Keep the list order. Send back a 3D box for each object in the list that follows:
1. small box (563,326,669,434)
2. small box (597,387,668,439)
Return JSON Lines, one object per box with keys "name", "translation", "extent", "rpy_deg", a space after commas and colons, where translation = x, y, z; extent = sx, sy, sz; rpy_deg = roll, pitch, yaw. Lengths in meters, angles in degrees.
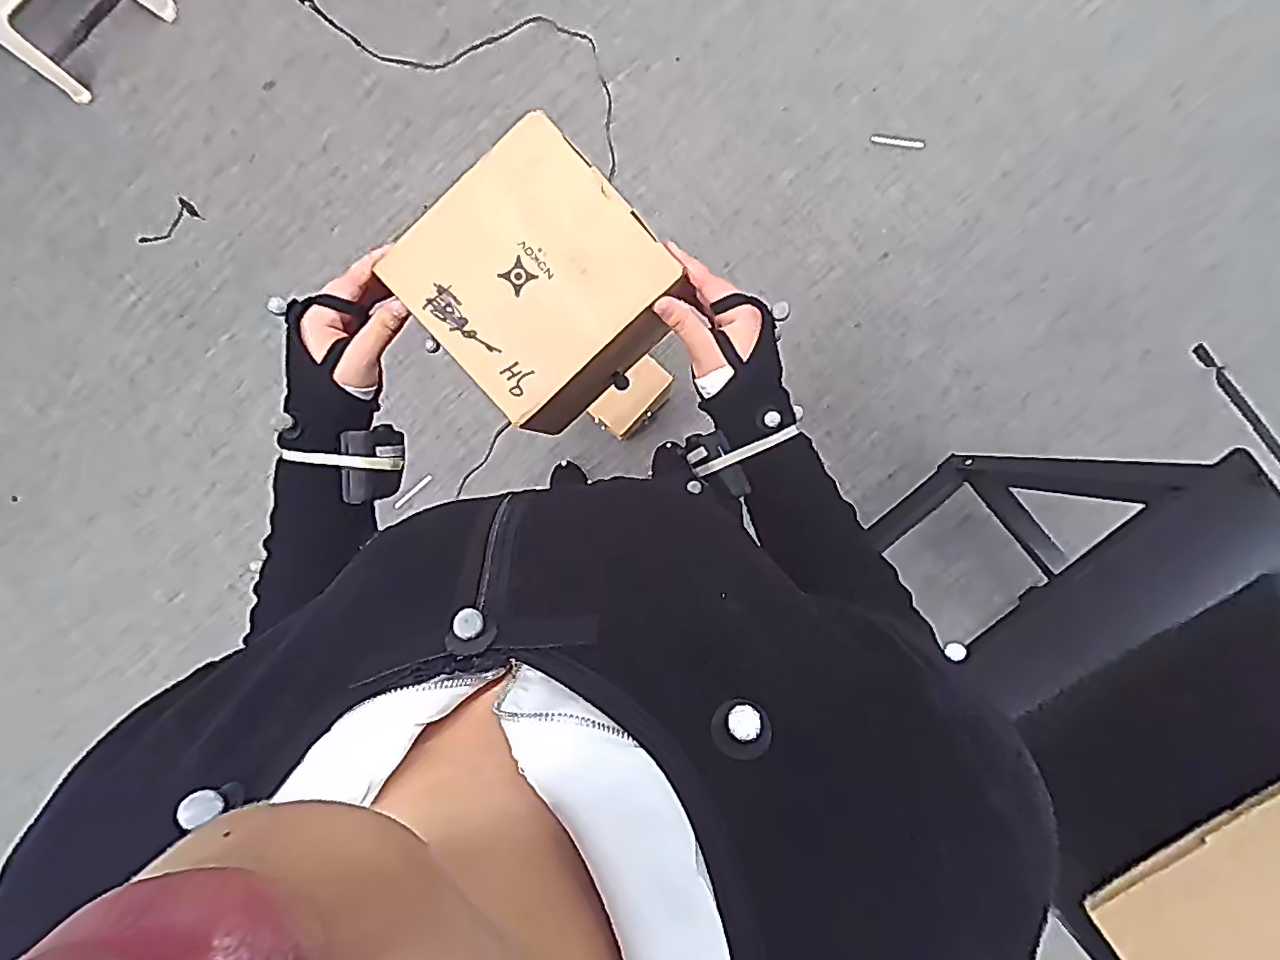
{"name": "small box", "translation": [-0.049, -0.220, 1.246], "extent": [0.168, 0.176, 0.179], "rpy_deg": [42, 92, -2]}
{"name": "small box", "translation": [-0.046, -0.223, 1.408], "extent": [0.179, 0.176, 0.168], "rpy_deg": [-44, 91, 5]}
